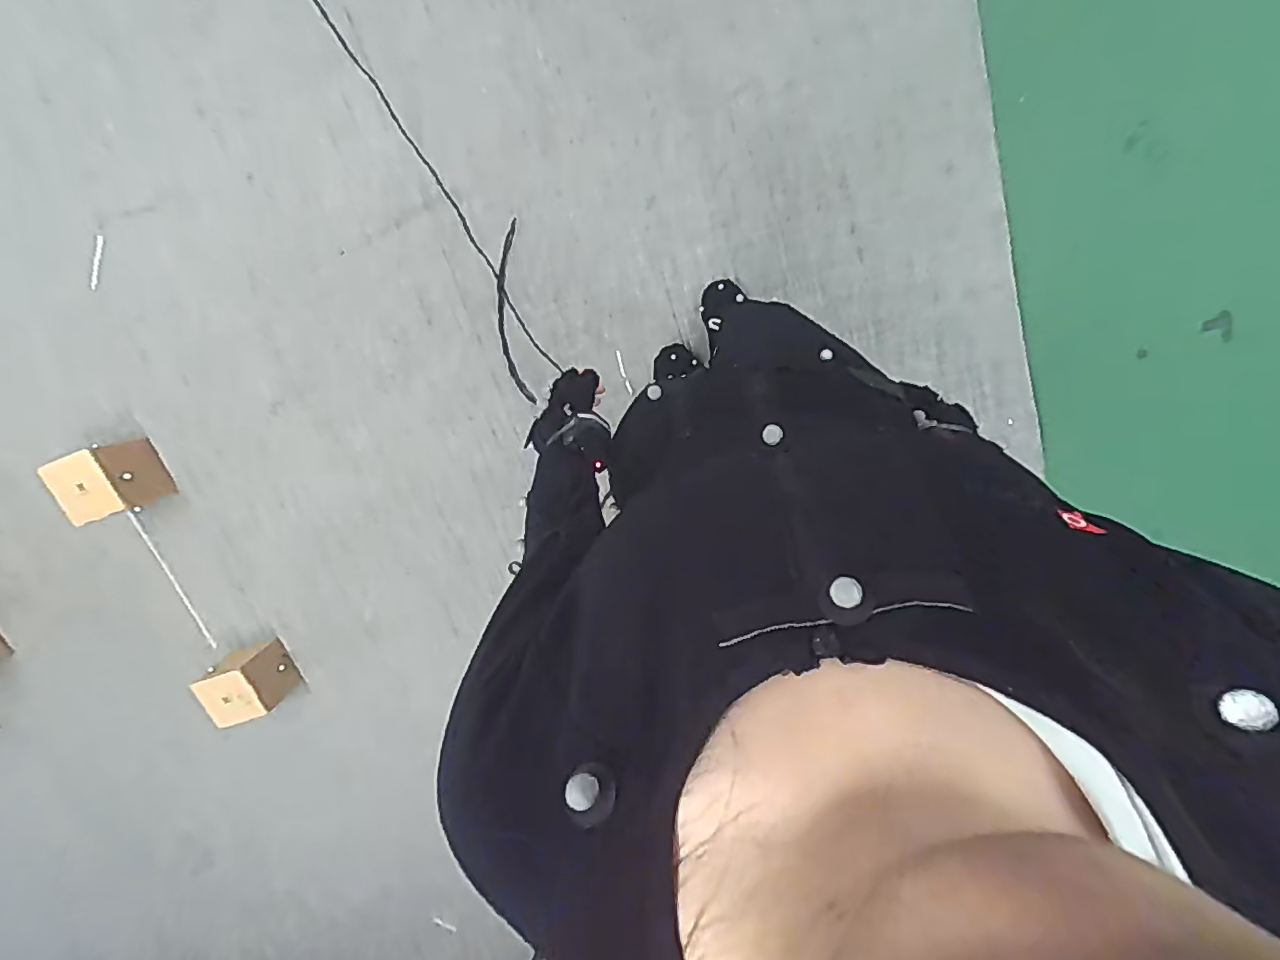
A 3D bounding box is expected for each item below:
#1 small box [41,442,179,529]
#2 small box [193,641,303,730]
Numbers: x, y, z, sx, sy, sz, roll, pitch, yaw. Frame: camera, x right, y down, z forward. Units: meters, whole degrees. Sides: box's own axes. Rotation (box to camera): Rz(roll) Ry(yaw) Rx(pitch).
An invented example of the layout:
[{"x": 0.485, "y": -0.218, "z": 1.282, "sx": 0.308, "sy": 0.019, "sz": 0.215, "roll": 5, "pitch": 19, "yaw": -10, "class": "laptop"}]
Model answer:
[{"x": -1.436, "y": 0.005, "z": 1.478, "sx": 0.168, "sy": 0.176, "sz": 0.179, "roll": -19, "pitch": 105, "yaw": 7, "class": "small box"}, {"x": -1.185, "y": 0.620, "z": 1.647, "sx": 0.179, "sy": 0.176, "sz": 0.168, "roll": -19, "pitch": 105, "yaw": 7, "class": "small box"}]
